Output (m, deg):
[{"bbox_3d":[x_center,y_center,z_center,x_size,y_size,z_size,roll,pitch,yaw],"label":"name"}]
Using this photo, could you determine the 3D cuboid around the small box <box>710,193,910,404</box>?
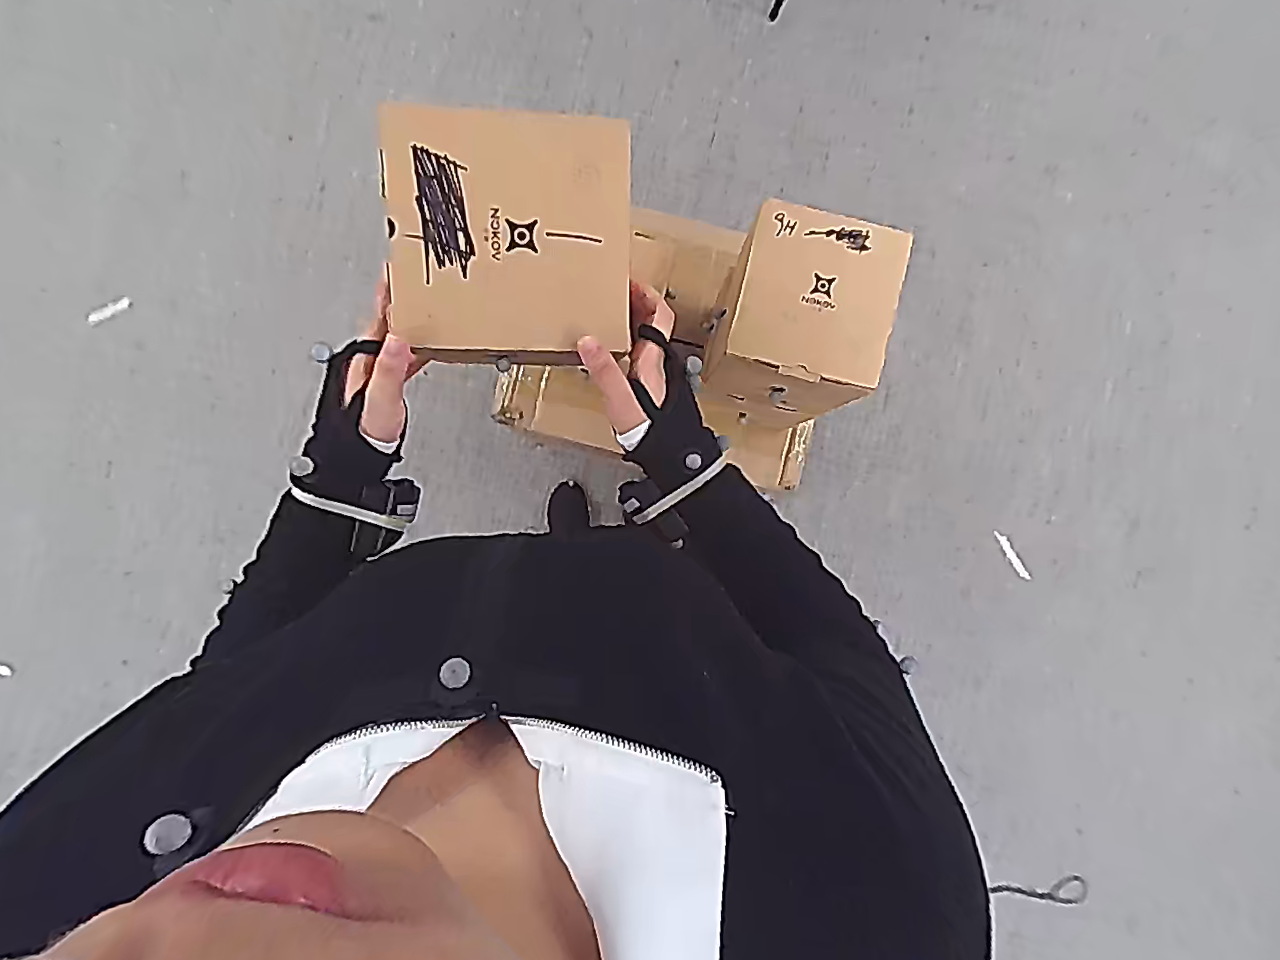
[{"bbox_3d":[0.186,-0.200,0.650,0.168,0.176,0.179,15,89,0],"label":"small box"}]

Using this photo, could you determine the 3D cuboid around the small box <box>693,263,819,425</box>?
[{"bbox_3d":[0.181,-0.193,0.814,0.168,0.176,0.179,13,89,1],"label":"small box"}]

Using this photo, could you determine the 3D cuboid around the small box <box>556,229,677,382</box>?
[{"bbox_3d":[-0.049,-0.261,0.811,0.168,0.176,0.179,13,90,-1],"label":"small box"}]

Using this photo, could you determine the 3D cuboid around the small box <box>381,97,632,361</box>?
[{"bbox_3d":[-0.102,-0.192,0.467,0.179,0.176,0.168,-1,99,-8],"label":"small box"}]
